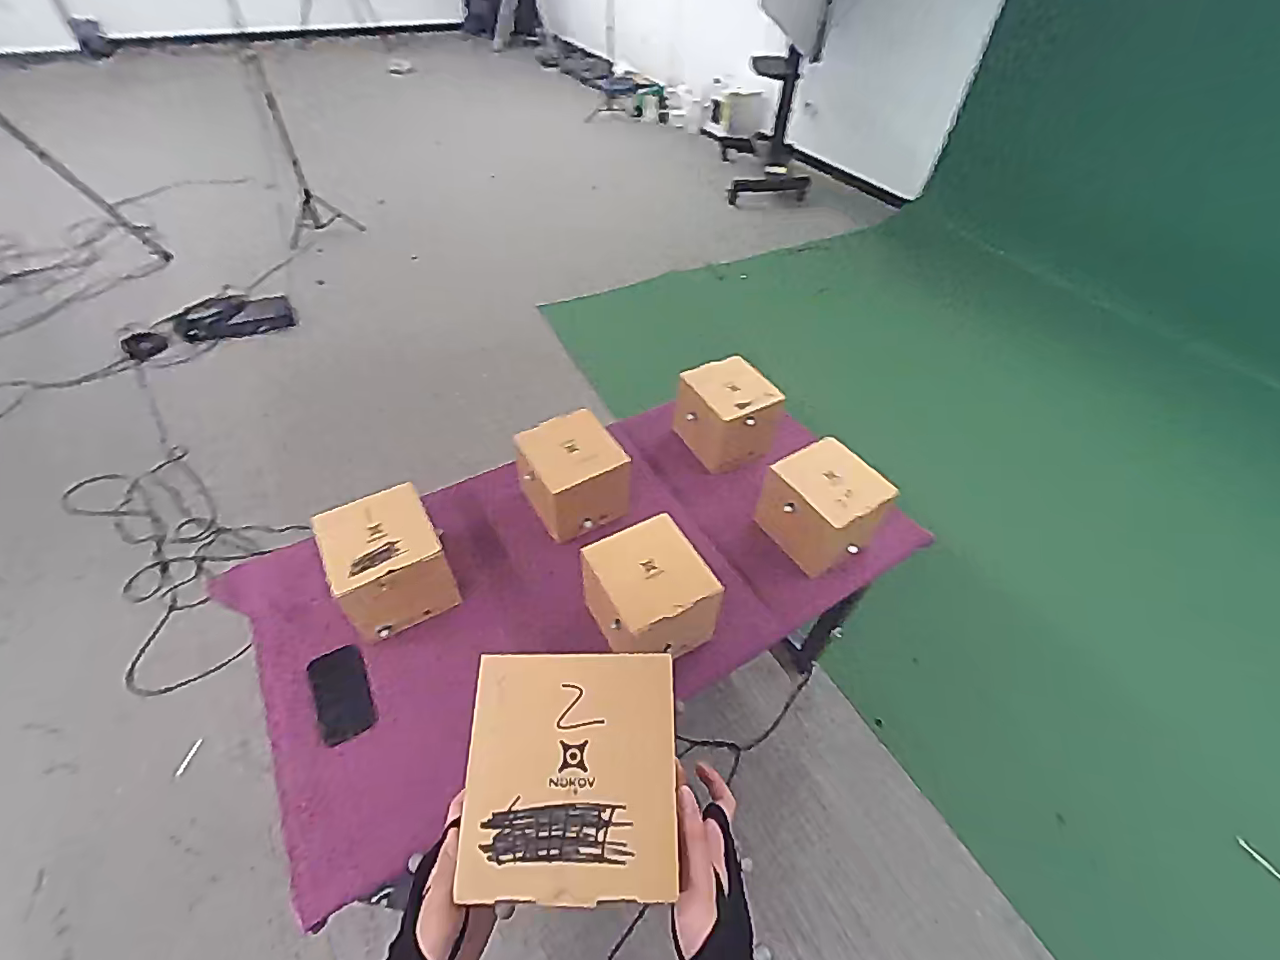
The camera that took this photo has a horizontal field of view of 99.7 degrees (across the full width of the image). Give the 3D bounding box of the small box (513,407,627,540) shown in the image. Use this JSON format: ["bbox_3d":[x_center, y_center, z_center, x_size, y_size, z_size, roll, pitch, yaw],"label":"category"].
[{"bbox_3d":[-0.140,-0.012,1.093,0.168,0.176,0.179,-25,54,-21],"label":"small box"}]

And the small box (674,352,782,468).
[{"bbox_3d":[0.191,-0.158,1.235,0.168,0.176,0.179,-23,53,-20],"label":"small box"}]

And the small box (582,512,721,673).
[{"bbox_3d":[0.013,0.191,0.919,0.168,0.176,0.179,-23,52,-21],"label":"small box"}]

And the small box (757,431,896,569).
[{"bbox_3d":[0.352,0.041,1.060,0.168,0.176,0.179,-26,55,-21],"label":"small box"}]

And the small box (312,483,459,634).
[{"bbox_3d":[-0.434,0.144,0.941,0.168,0.176,0.179,-24,53,-22],"label":"small box"}]
